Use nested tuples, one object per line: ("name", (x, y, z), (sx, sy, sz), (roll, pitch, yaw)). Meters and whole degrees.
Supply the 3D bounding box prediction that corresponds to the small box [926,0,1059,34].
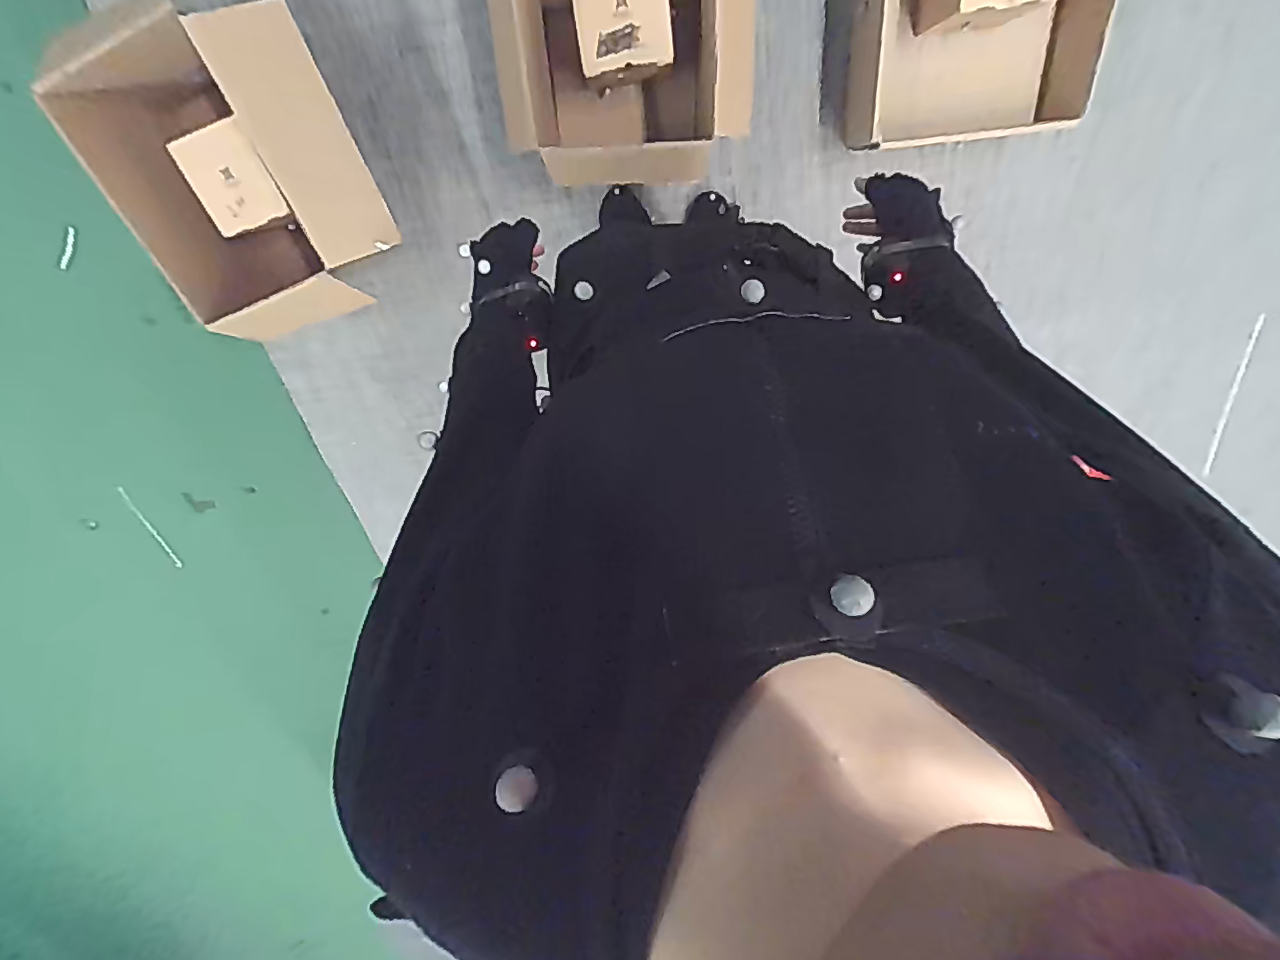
("small box", (0.616, -0.904, 0.927), (0.168, 0.176, 0.179), (-5, 119, 4))
